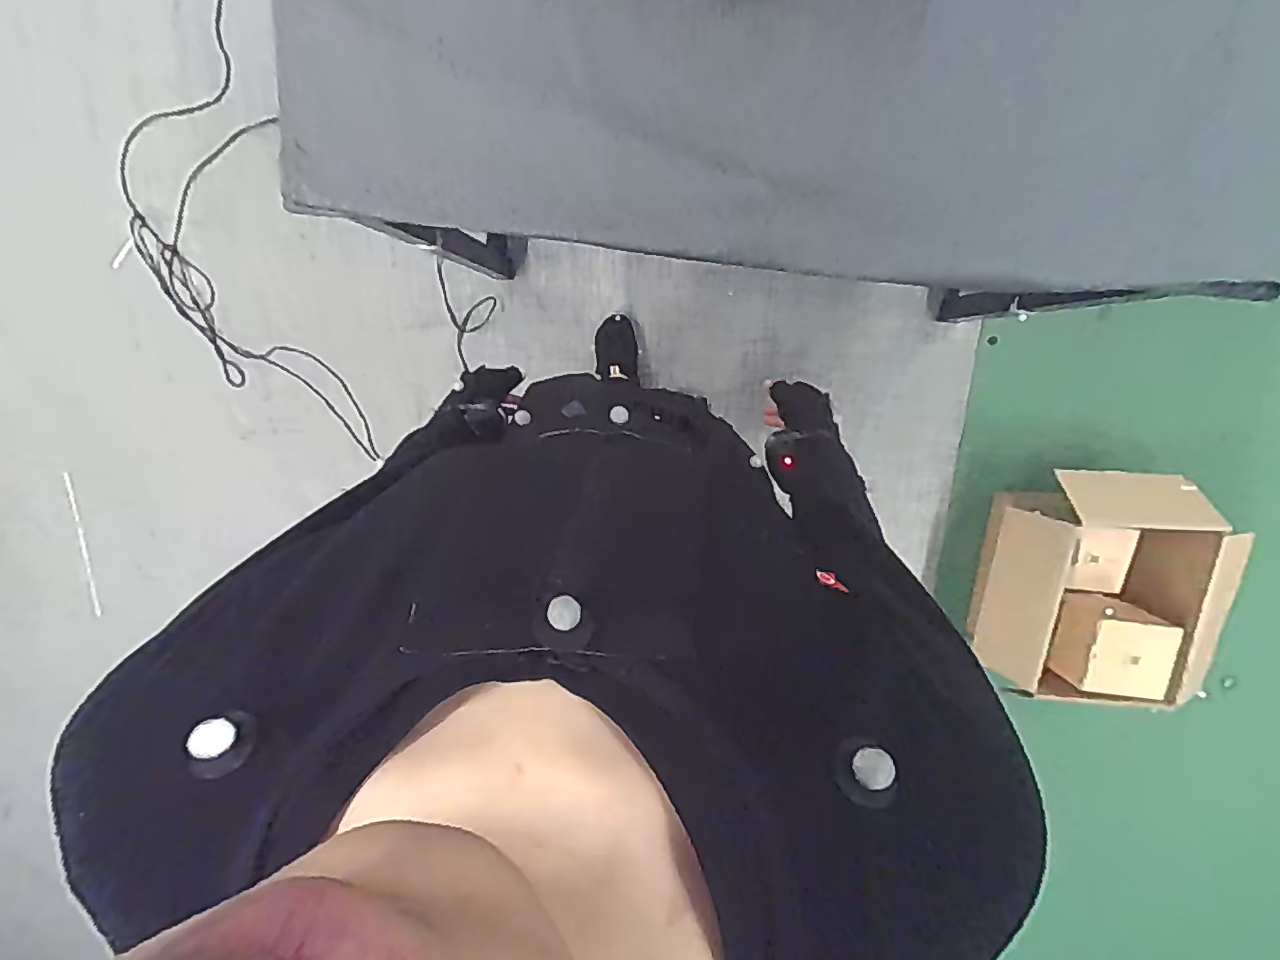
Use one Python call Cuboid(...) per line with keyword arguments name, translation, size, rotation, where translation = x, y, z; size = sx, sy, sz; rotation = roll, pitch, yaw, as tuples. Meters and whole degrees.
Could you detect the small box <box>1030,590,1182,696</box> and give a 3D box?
Cuboid(name="small box", translation=(1.040, 0.361, 1.221), size=(0.179, 0.176, 0.168), rotation=(7, 100, 0))
